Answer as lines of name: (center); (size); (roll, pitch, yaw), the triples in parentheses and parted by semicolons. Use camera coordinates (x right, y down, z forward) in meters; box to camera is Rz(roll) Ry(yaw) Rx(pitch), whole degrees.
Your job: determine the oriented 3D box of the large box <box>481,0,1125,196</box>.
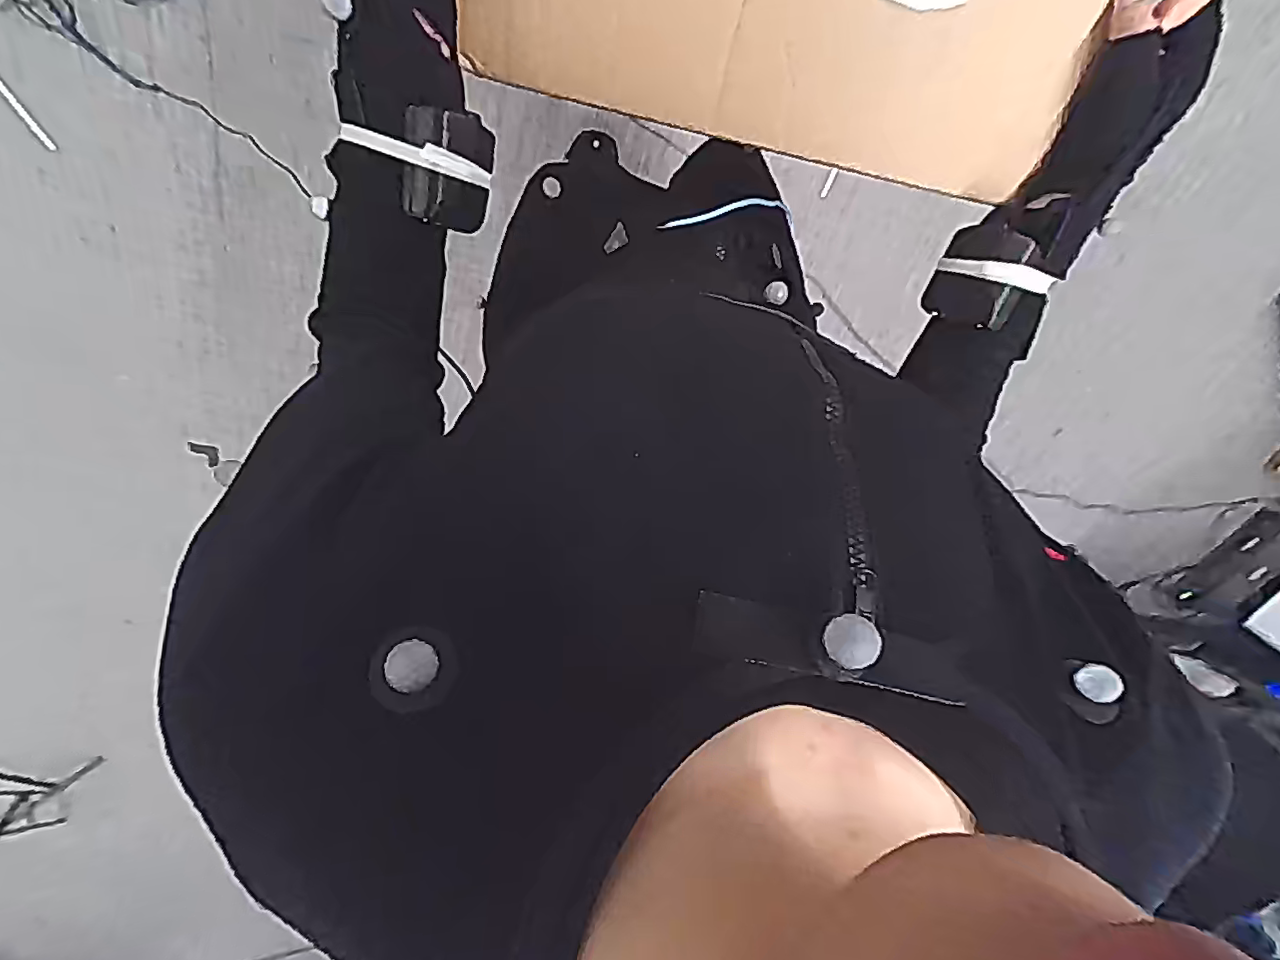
large box: (0.111, -0.448, 0.408); (0.408, 0.320, 0.320); (8, 128, -9)
